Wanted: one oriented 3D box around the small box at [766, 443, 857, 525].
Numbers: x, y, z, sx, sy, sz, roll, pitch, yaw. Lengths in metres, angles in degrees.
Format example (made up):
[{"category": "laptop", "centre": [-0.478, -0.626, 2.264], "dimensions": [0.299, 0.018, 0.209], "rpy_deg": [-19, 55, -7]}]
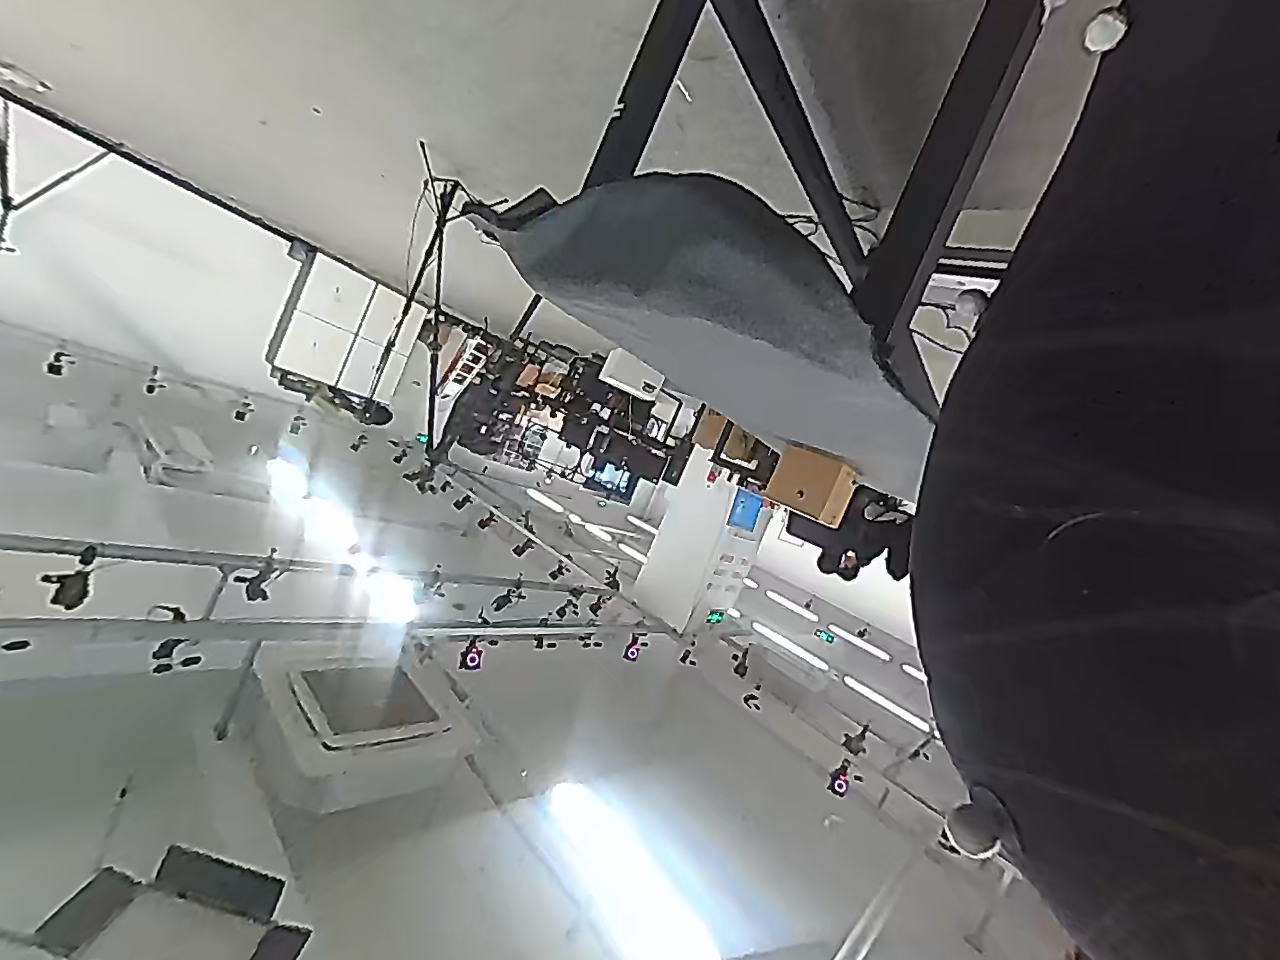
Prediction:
[{"category": "small box", "centre": [0.493, 0.009, 1.531], "dimensions": [0.179, 0.176, 0.168], "rpy_deg": [26, -177, 39]}]
